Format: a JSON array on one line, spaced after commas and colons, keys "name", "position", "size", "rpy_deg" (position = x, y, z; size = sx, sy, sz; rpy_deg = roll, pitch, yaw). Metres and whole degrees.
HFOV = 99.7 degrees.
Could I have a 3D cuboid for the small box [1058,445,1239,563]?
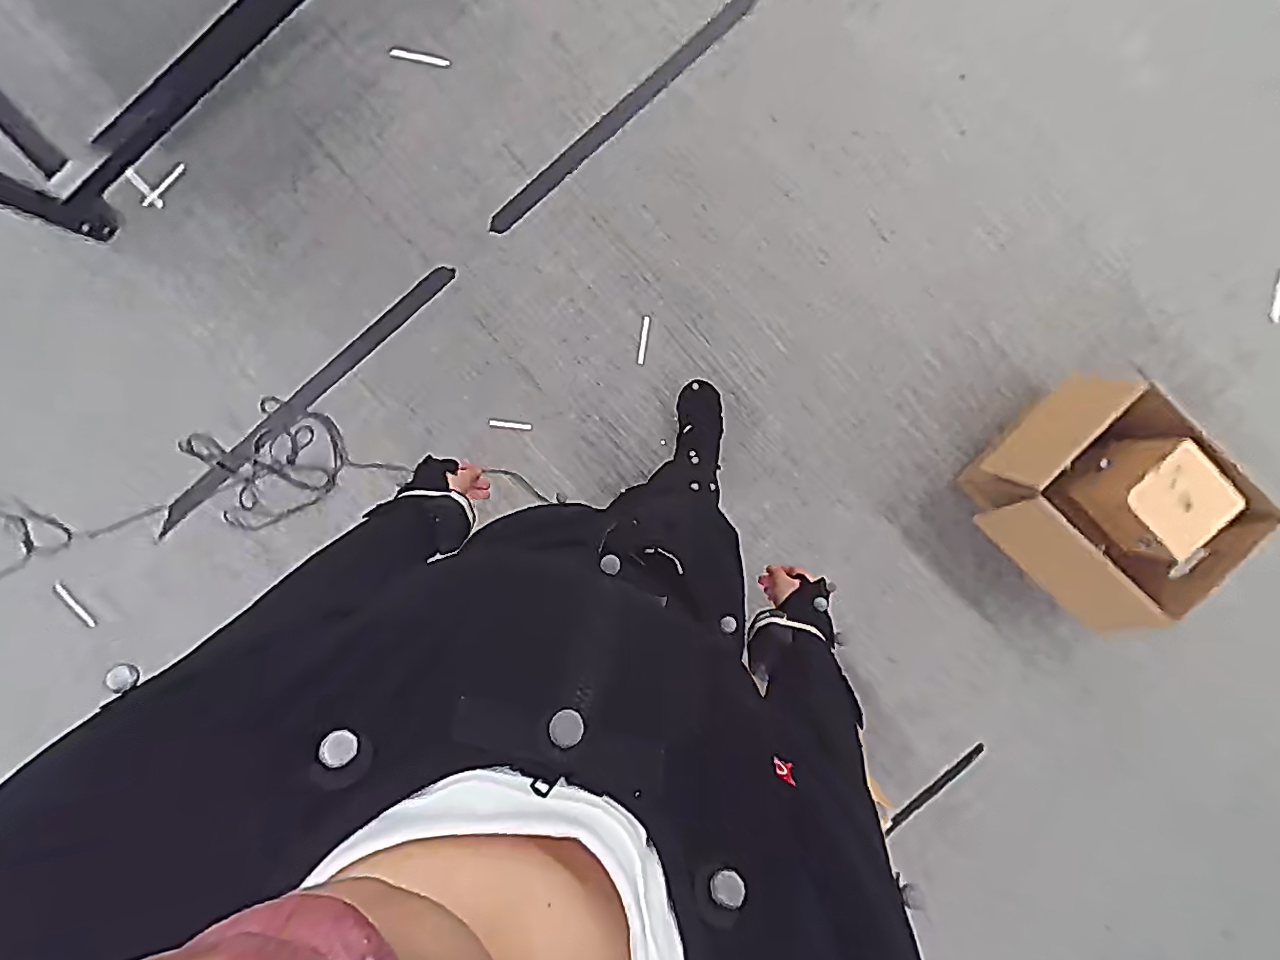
[{"name": "small box", "position": [1.038, 0.041, 1.119], "size": [0.168, 0.176, 0.179], "rpy_deg": [-43, 92, 2]}]
